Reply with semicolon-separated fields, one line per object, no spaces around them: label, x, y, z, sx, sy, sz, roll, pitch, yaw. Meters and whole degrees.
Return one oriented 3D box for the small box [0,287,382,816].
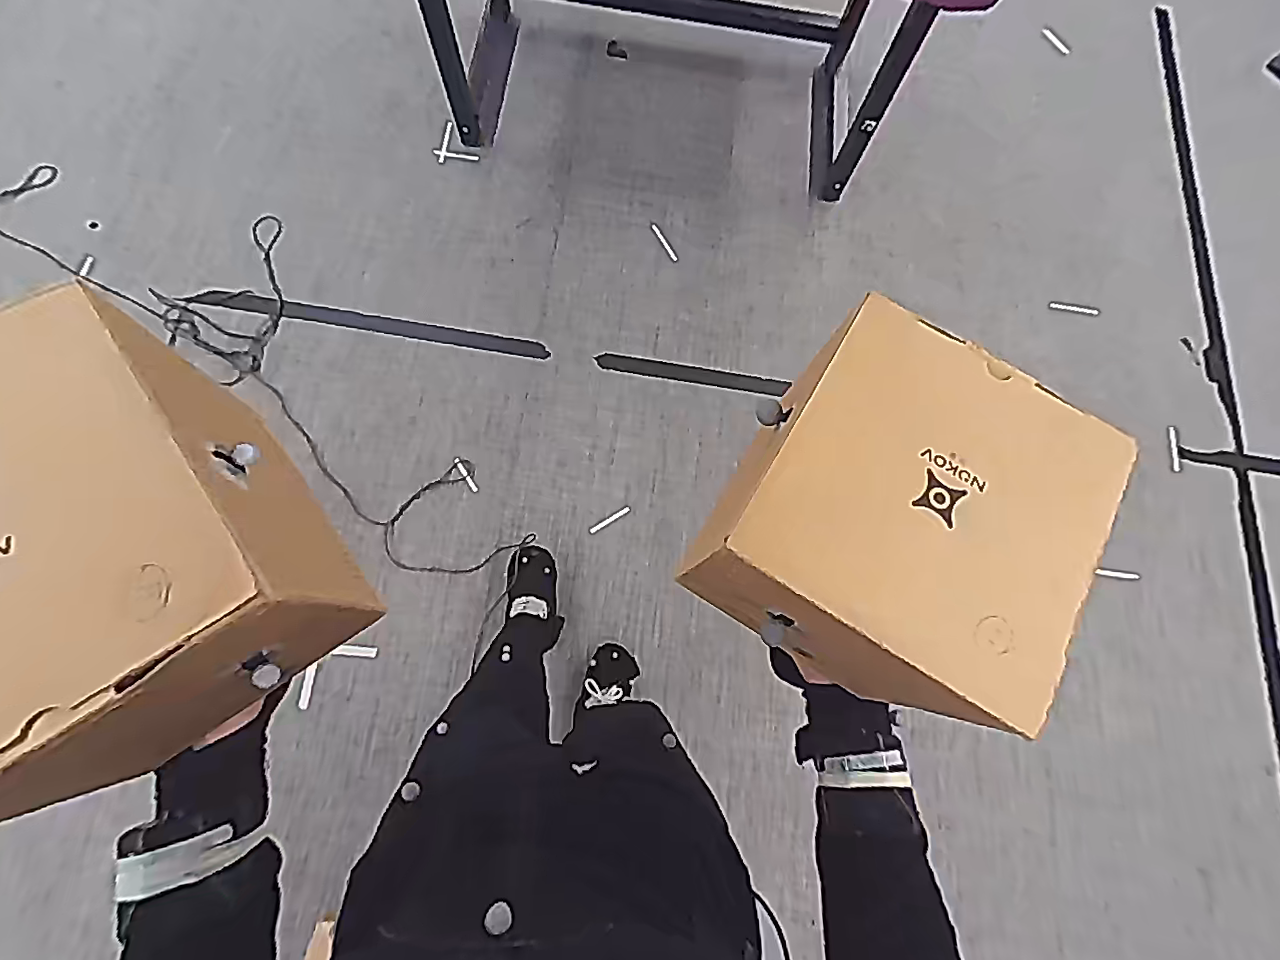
small box;-0.272;0.045;0.286;0.168;0.176;0.179;-35;81;-17

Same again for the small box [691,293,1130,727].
small box;0.147;0.026;0.352;0.168;0.176;0.179;31;73;5
